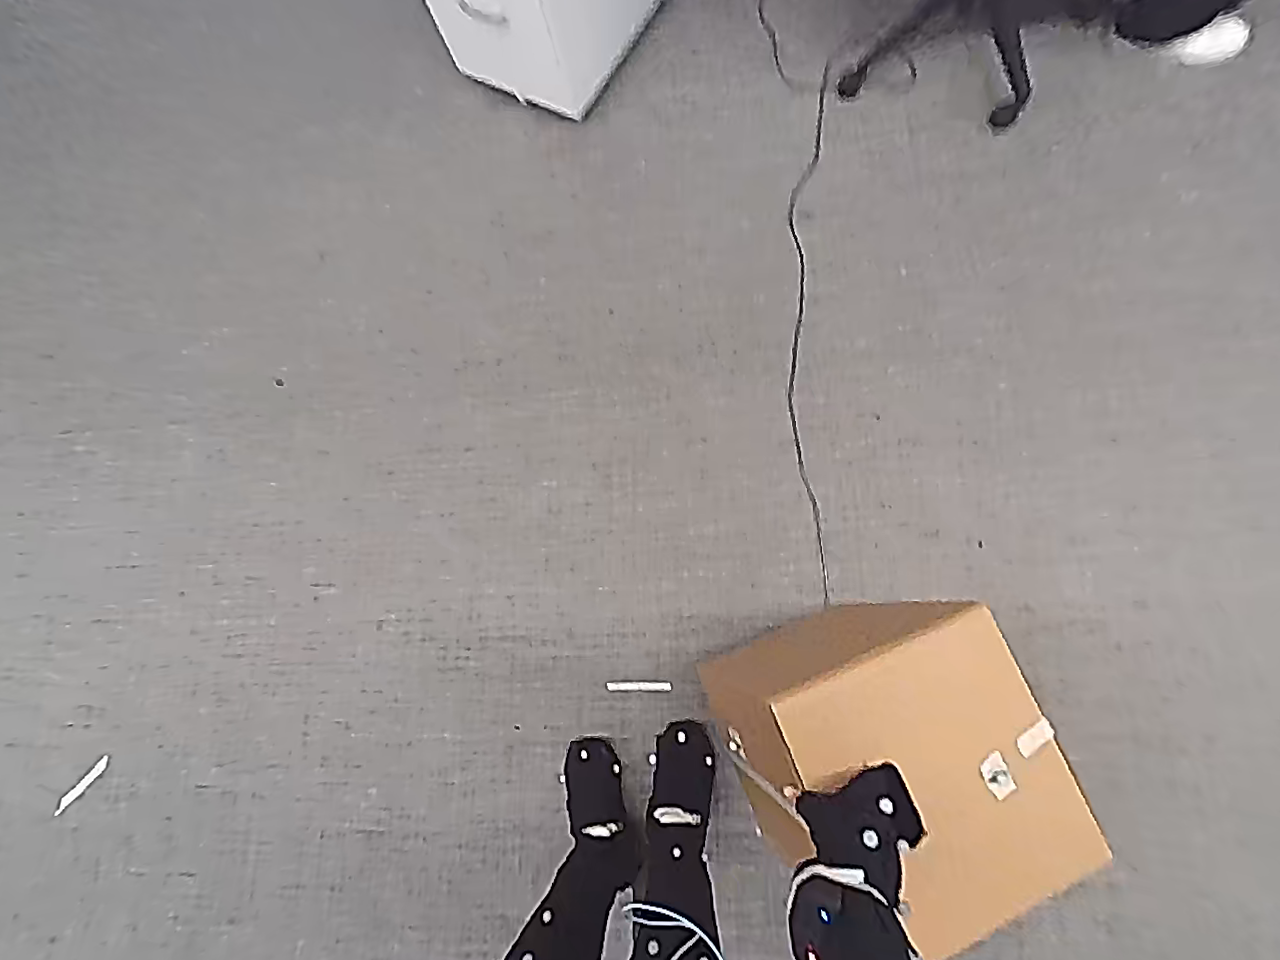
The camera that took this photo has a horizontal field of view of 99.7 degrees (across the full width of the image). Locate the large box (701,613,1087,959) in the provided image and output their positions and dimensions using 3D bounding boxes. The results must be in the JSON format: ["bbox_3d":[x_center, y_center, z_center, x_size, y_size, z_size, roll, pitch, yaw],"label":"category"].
[{"bbox_3d":[0.325,0.404,0.827,0.320,0.408,0.320,-19,80,-9],"label":"large box"}]
